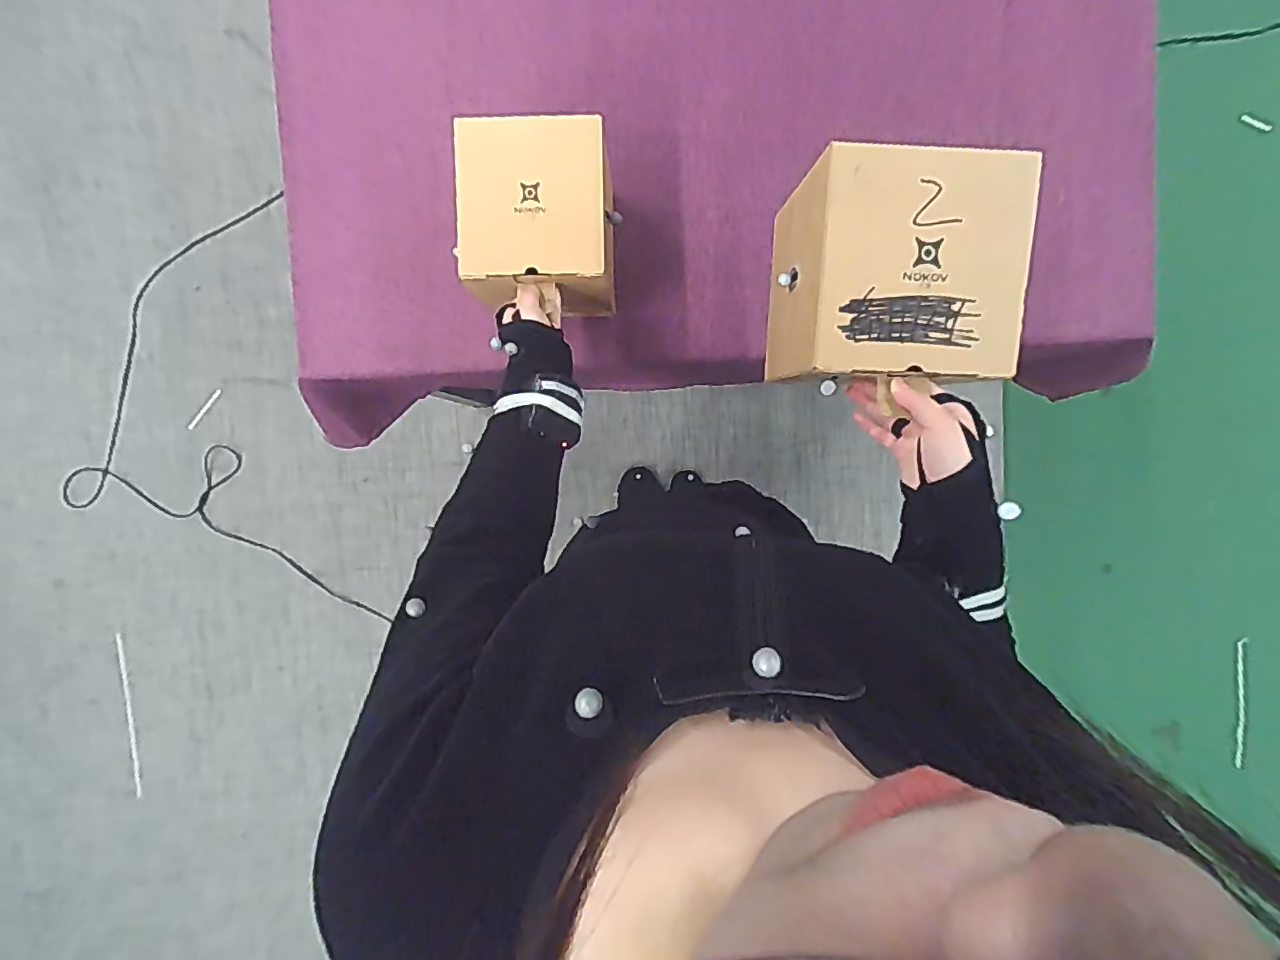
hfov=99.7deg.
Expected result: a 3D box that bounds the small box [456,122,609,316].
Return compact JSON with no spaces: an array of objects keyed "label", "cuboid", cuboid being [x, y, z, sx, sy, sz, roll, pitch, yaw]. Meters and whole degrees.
[{"label":"small box","cuboid":[-0.128,-0.320,0.694,0.168,0.176,0.179,-1,93,0]}]
